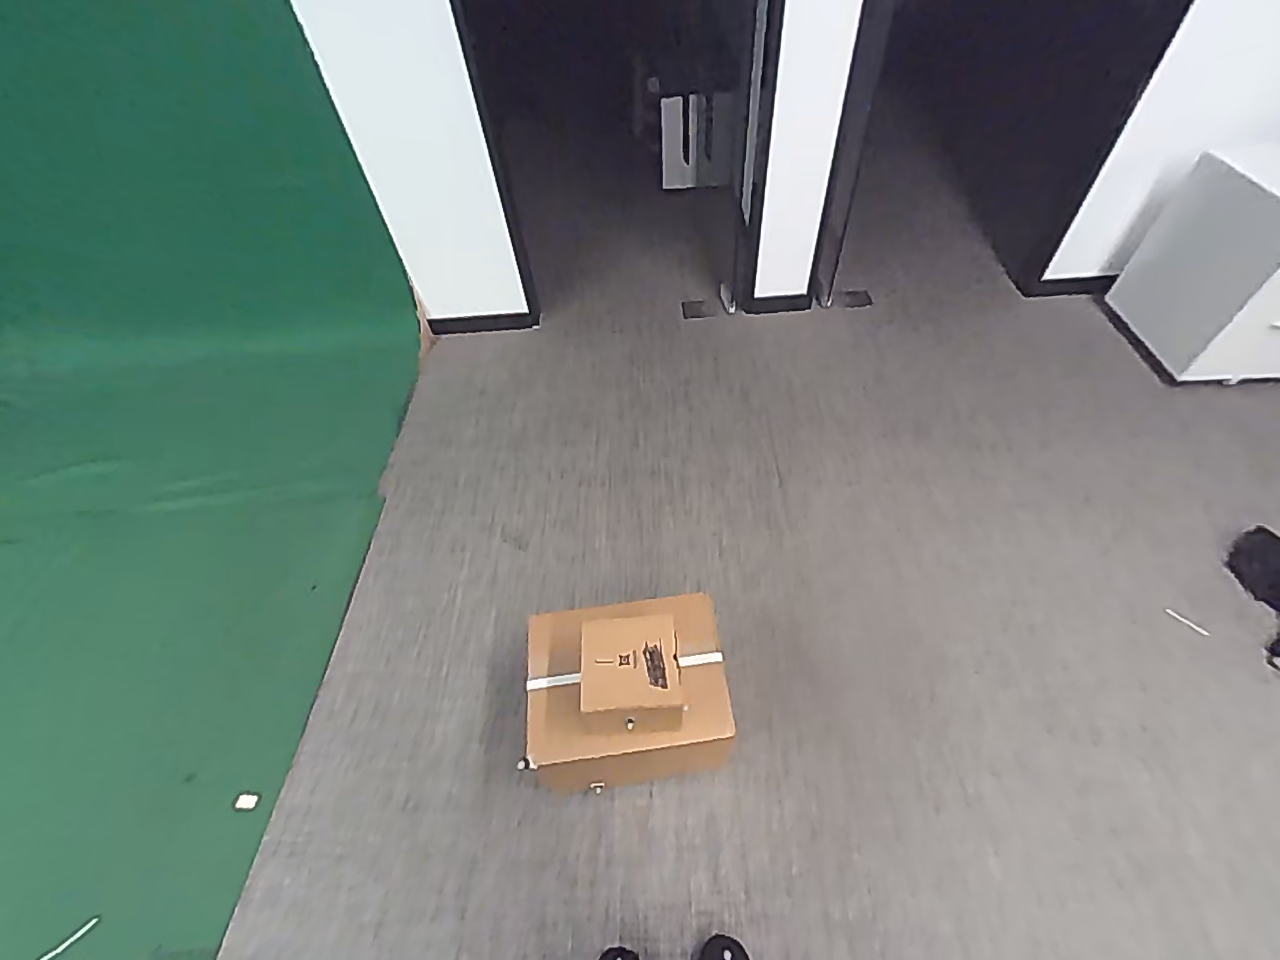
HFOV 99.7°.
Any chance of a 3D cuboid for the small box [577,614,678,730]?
[{"bbox_3d":[-0.021,0.371,1.038,0.179,0.176,0.168,-5,51,2],"label":"small box"}]
